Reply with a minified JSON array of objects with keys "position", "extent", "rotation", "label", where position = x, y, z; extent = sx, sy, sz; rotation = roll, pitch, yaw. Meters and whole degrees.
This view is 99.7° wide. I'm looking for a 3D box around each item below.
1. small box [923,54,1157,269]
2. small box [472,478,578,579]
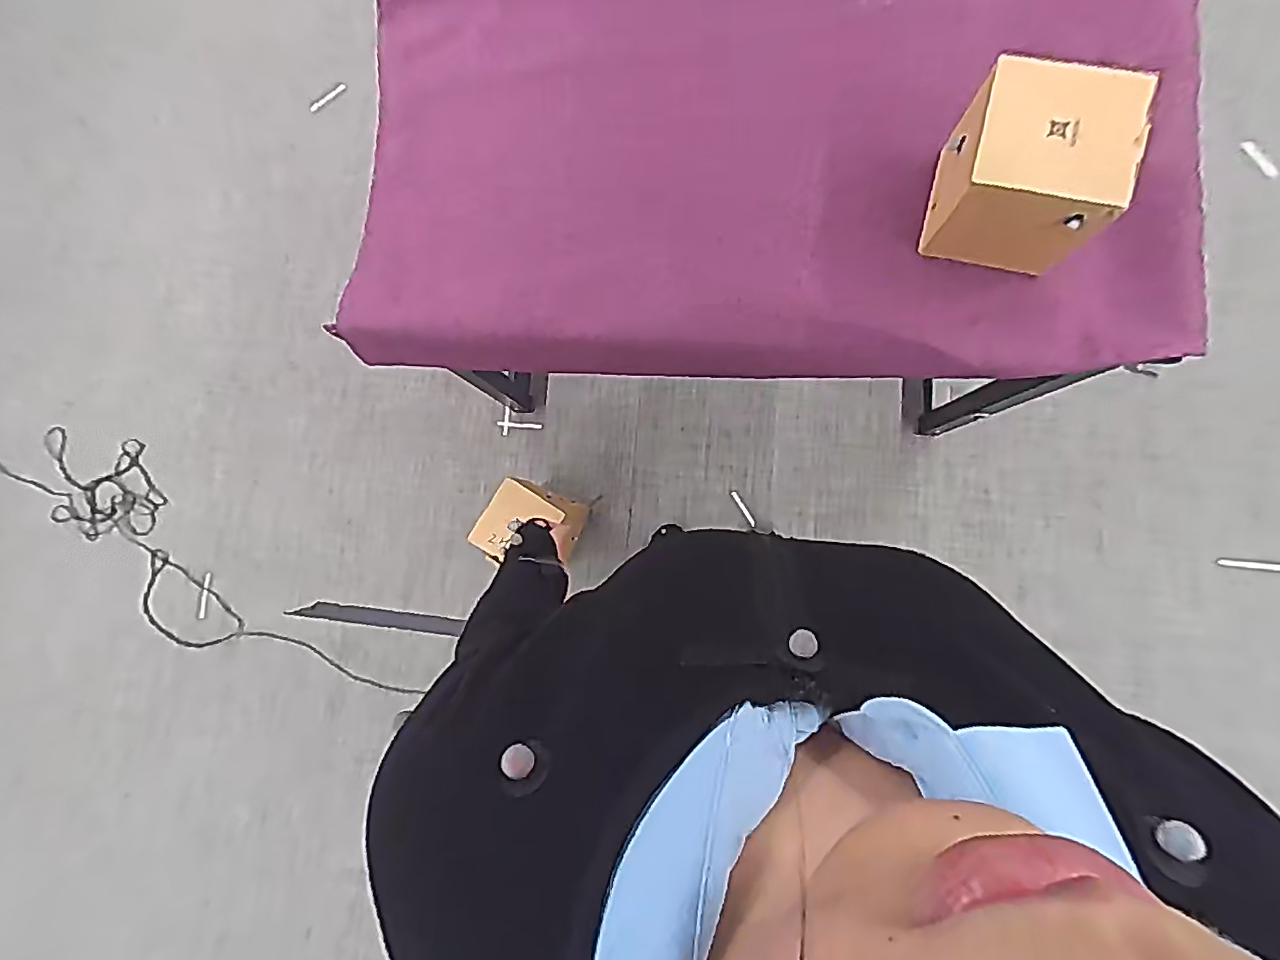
[{"position":[0.499,-0.399,0.704],"extent":[0.179,0.176,0.168],"rotation":[14,86,7],"label":"small box"},{"position":[-0.266,0.114,1.304],"extent":[0.168,0.176,0.179],"rotation":[32,90,7],"label":"small box"}]
